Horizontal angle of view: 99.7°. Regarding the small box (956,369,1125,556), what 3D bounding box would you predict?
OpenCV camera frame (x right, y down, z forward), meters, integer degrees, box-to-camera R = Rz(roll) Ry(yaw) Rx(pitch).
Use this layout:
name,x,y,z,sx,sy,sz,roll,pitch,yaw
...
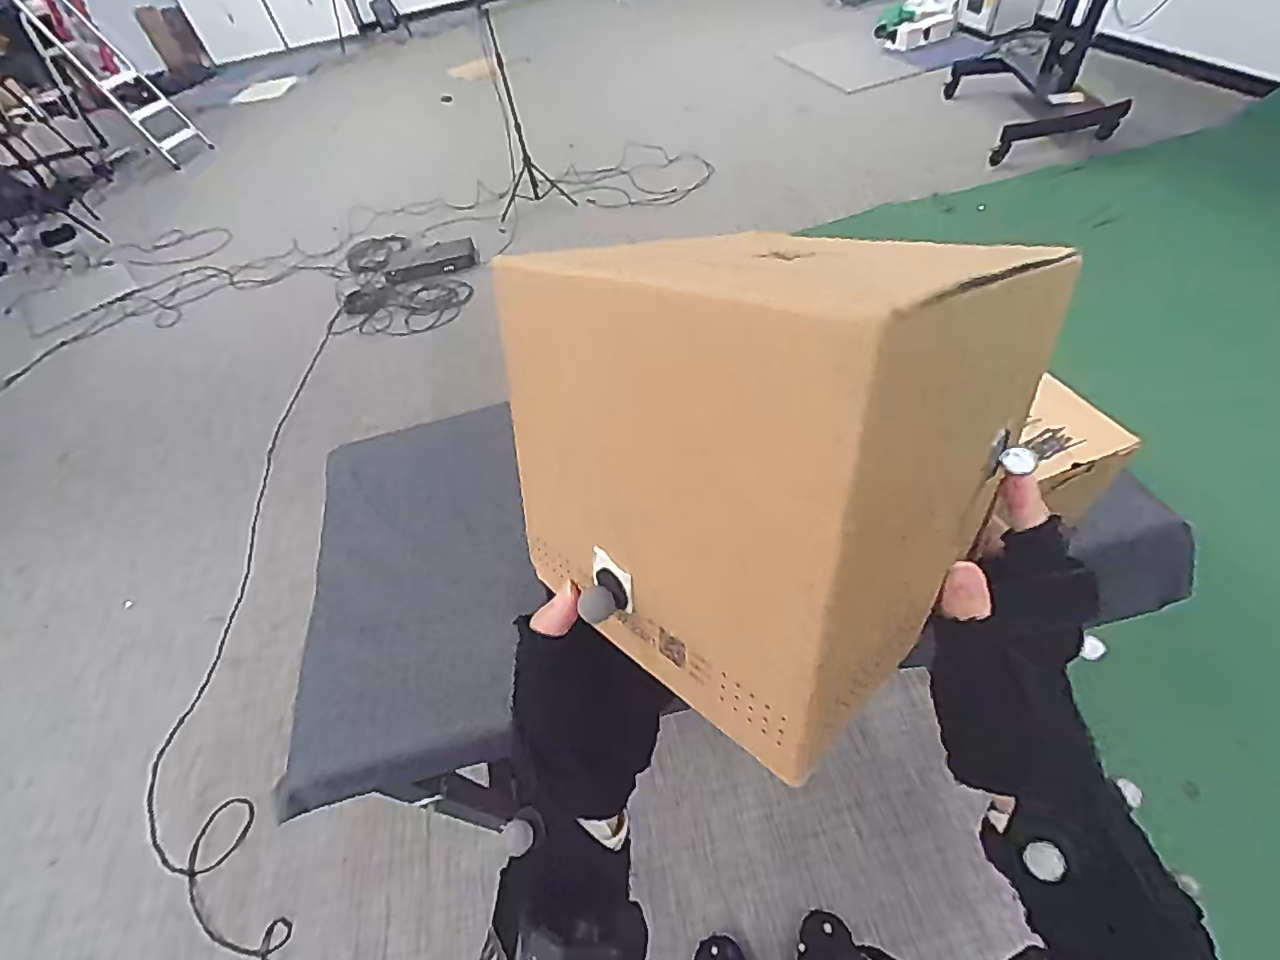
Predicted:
name,x,y,z,sx,sy,sz,roll,pitch,yaw
small box,0.476,-0.017,0.735,0.168,0.176,0.179,-19,49,-5

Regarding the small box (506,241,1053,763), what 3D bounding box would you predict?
name,x,y,z,sx,sy,sz,roll,pitch,yaw
small box,0.060,-0.014,0.266,0.168,0.176,0.179,25,39,39
